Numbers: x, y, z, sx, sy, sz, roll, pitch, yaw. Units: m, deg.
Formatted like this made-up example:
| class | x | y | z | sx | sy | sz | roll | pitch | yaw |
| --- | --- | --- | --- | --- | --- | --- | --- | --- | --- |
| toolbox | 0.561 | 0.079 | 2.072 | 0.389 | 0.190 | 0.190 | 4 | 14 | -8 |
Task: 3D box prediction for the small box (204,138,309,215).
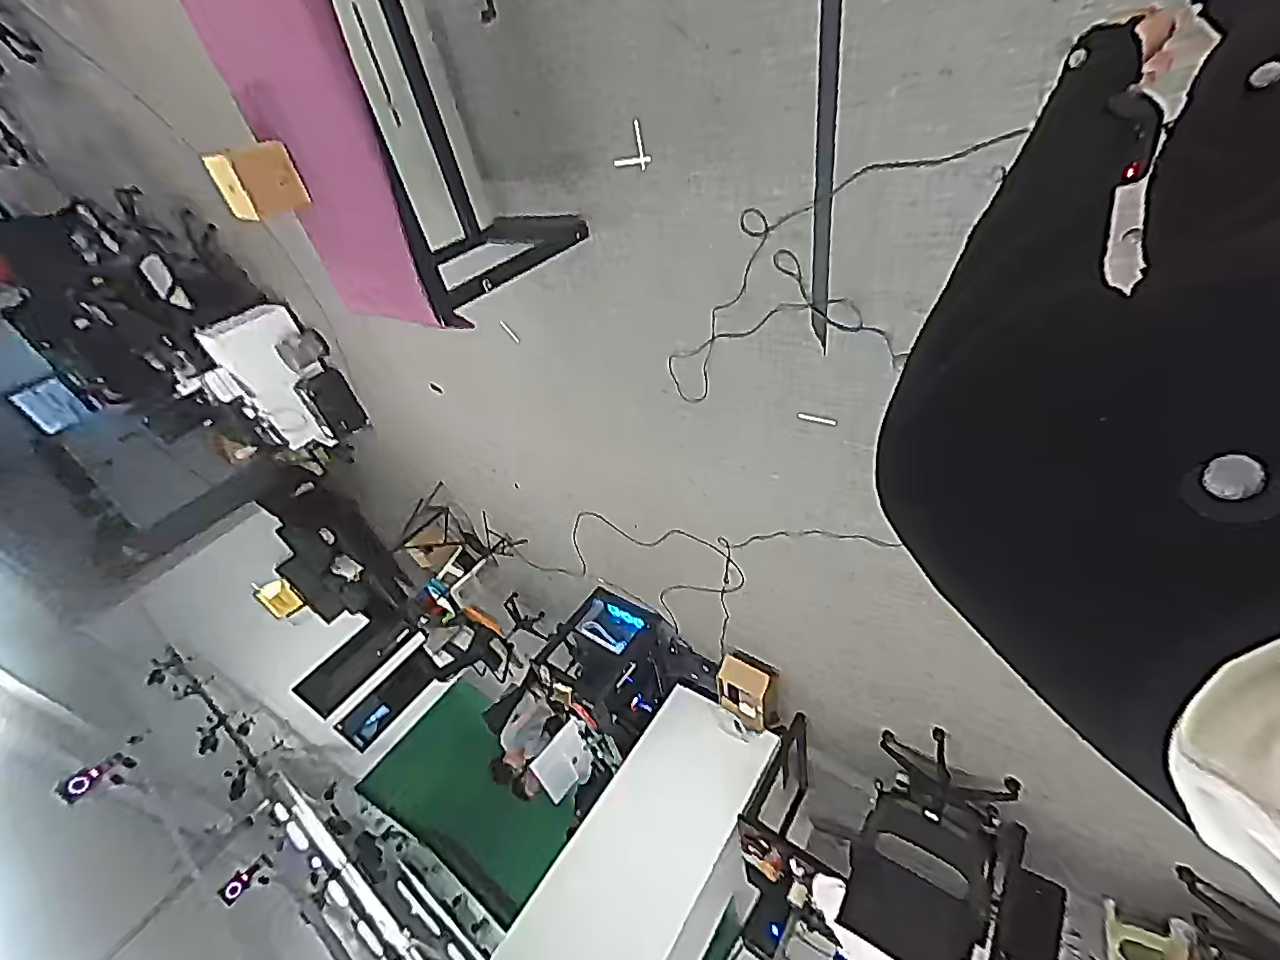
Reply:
| class | x | y | z | sx | sy | sz | roll | pitch | yaw |
| --- | --- | --- | --- | --- | --- | --- | --- | --- | --- |
| small box | -1.136 | -0.908 | 1.613 | 0.179 | 0.176 | 0.168 | 20 | 139 | 32 |
